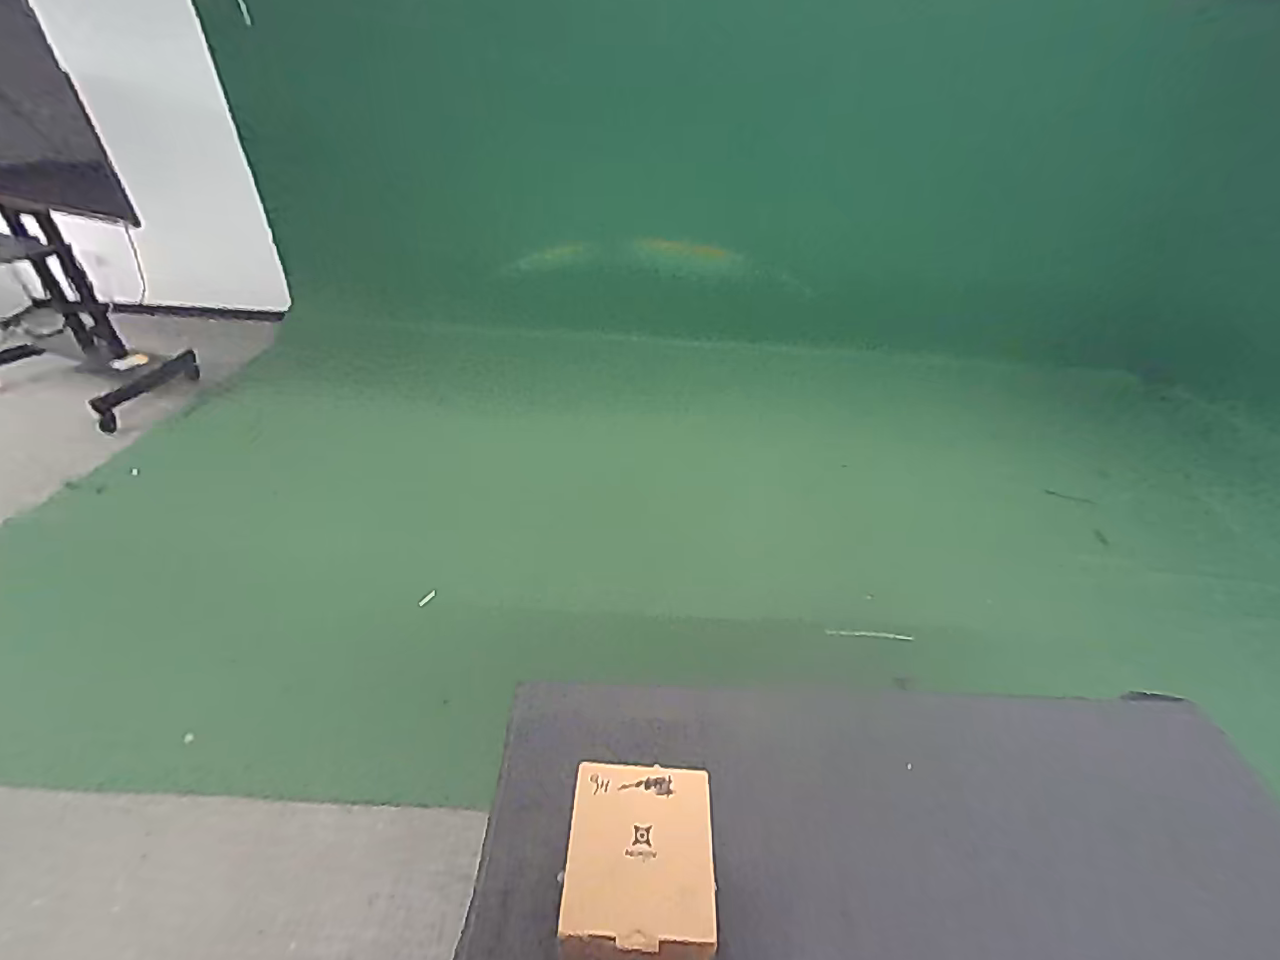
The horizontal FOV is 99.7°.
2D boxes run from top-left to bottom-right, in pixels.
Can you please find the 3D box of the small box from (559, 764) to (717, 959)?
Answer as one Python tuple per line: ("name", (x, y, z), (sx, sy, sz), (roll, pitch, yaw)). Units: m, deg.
("small box", (0.000, 0.481, 0.663), (0.168, 0.176, 0.179), (5, 38, 0))
